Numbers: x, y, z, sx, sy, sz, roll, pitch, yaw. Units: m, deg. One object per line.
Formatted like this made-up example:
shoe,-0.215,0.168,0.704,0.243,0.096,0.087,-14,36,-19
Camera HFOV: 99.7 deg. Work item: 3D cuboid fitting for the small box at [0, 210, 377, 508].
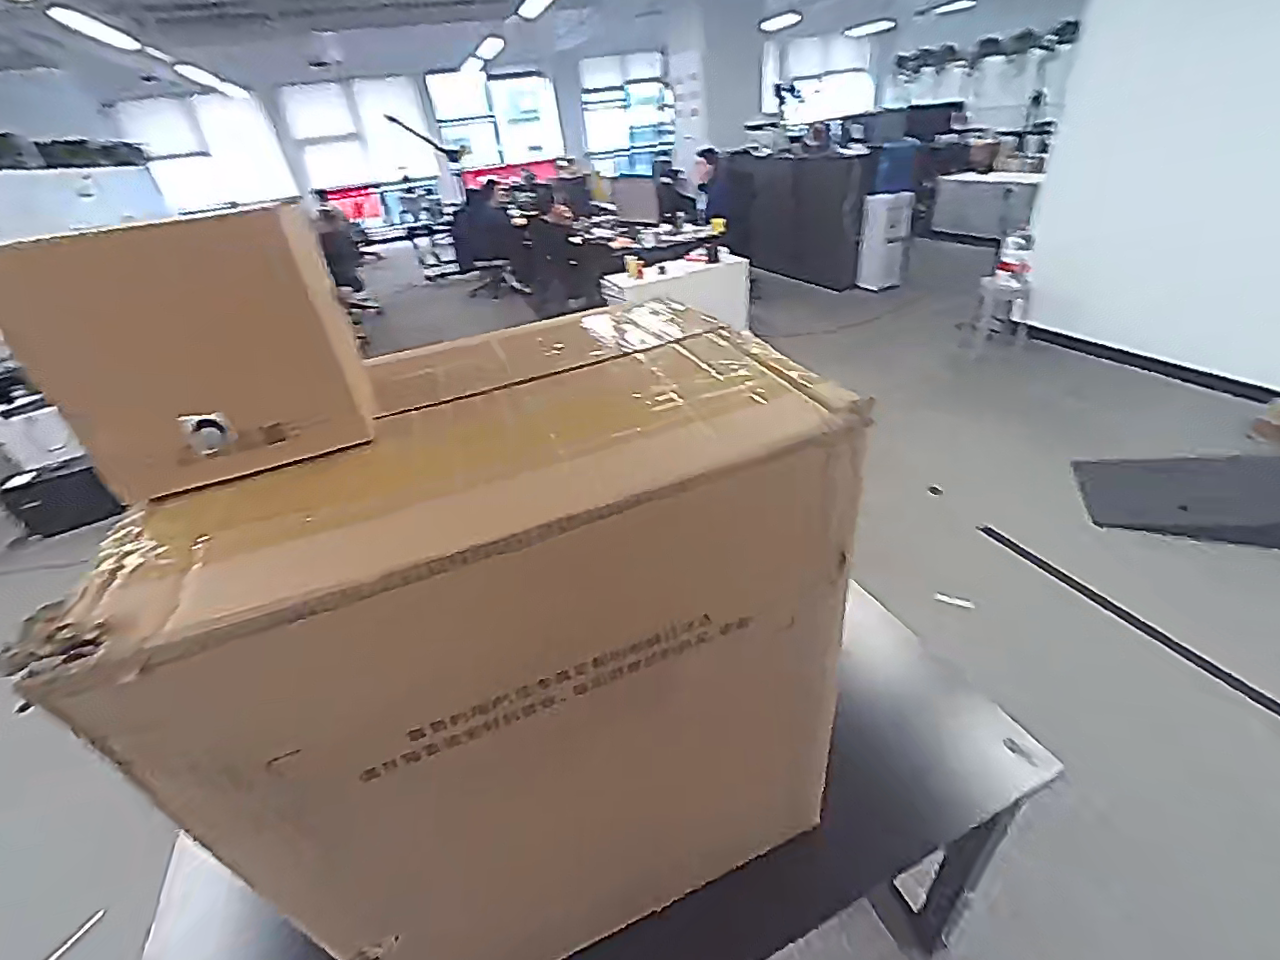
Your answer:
small box,-0.324,-0.104,0.424,0.168,0.176,0.179,-21,34,-18
